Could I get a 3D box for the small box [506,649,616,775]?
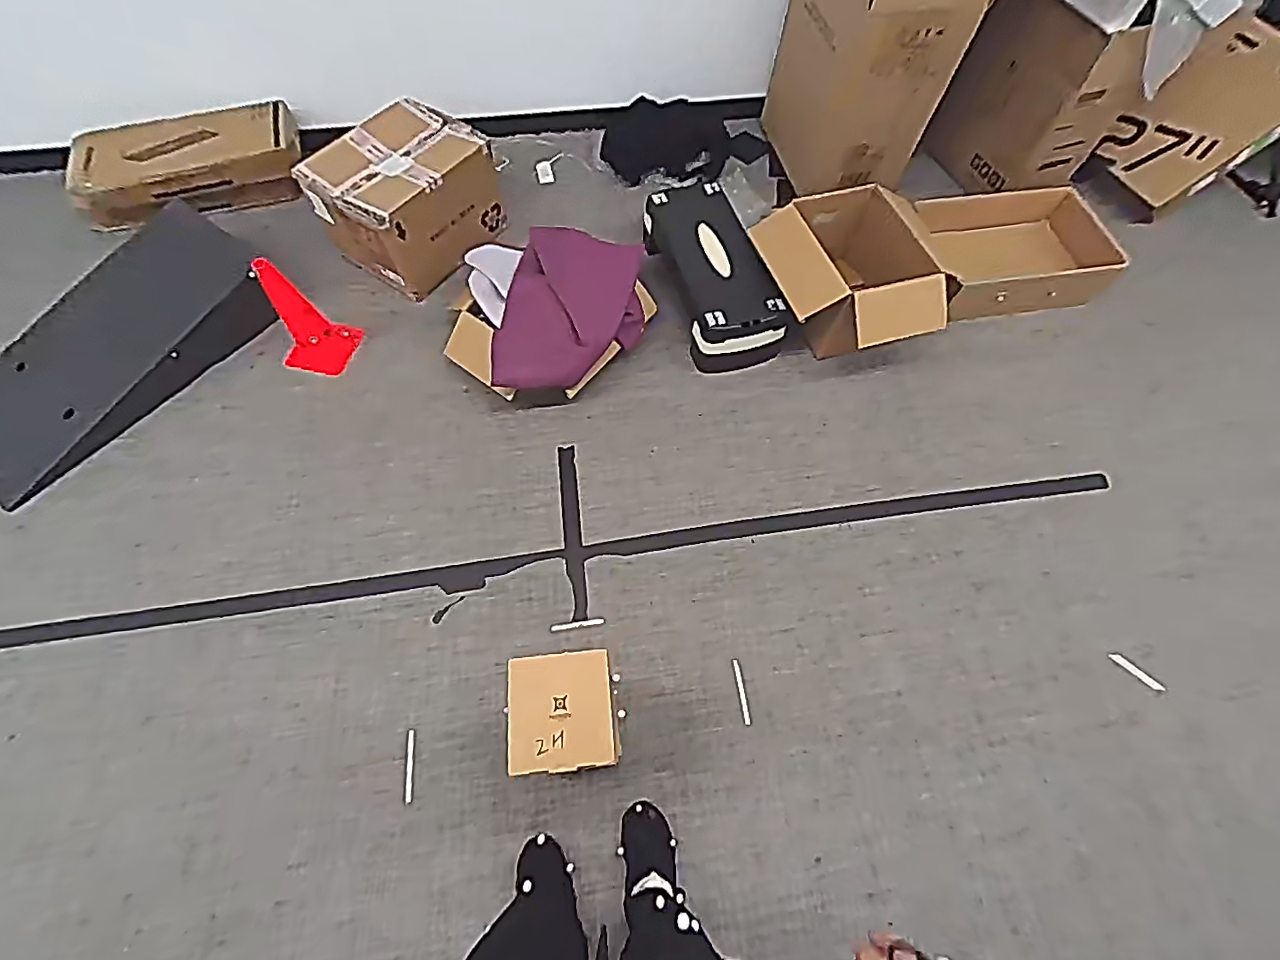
[{"bbox_3d":[-0.130,0.399,0.927,0.168,0.176,0.179,-5,64,-3],"label":"small box"}]
